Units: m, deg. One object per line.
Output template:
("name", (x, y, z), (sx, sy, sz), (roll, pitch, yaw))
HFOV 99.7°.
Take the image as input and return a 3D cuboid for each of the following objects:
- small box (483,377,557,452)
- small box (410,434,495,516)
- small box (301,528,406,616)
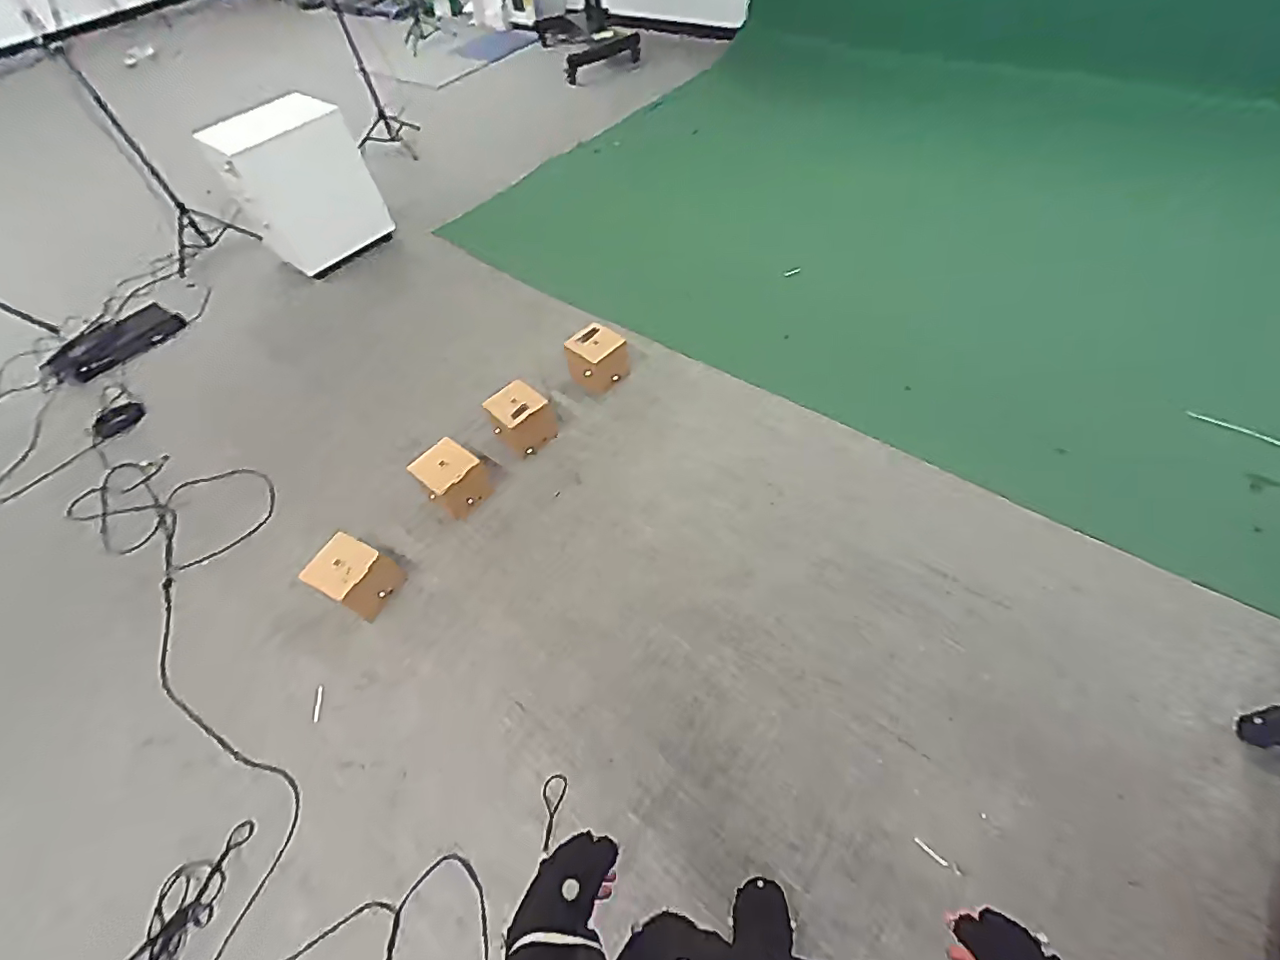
("small box", (-0.415, -0.224, 1.899), (0.168, 0.176, 0.179), (-40, 59, -21))
("small box", (-0.609, -0.012, 1.770), (0.179, 0.176, 0.168), (32, 64, 25))
("small box", (-0.833, 0.274, 1.589), (0.179, 0.176, 0.168), (20, 60, 20))
